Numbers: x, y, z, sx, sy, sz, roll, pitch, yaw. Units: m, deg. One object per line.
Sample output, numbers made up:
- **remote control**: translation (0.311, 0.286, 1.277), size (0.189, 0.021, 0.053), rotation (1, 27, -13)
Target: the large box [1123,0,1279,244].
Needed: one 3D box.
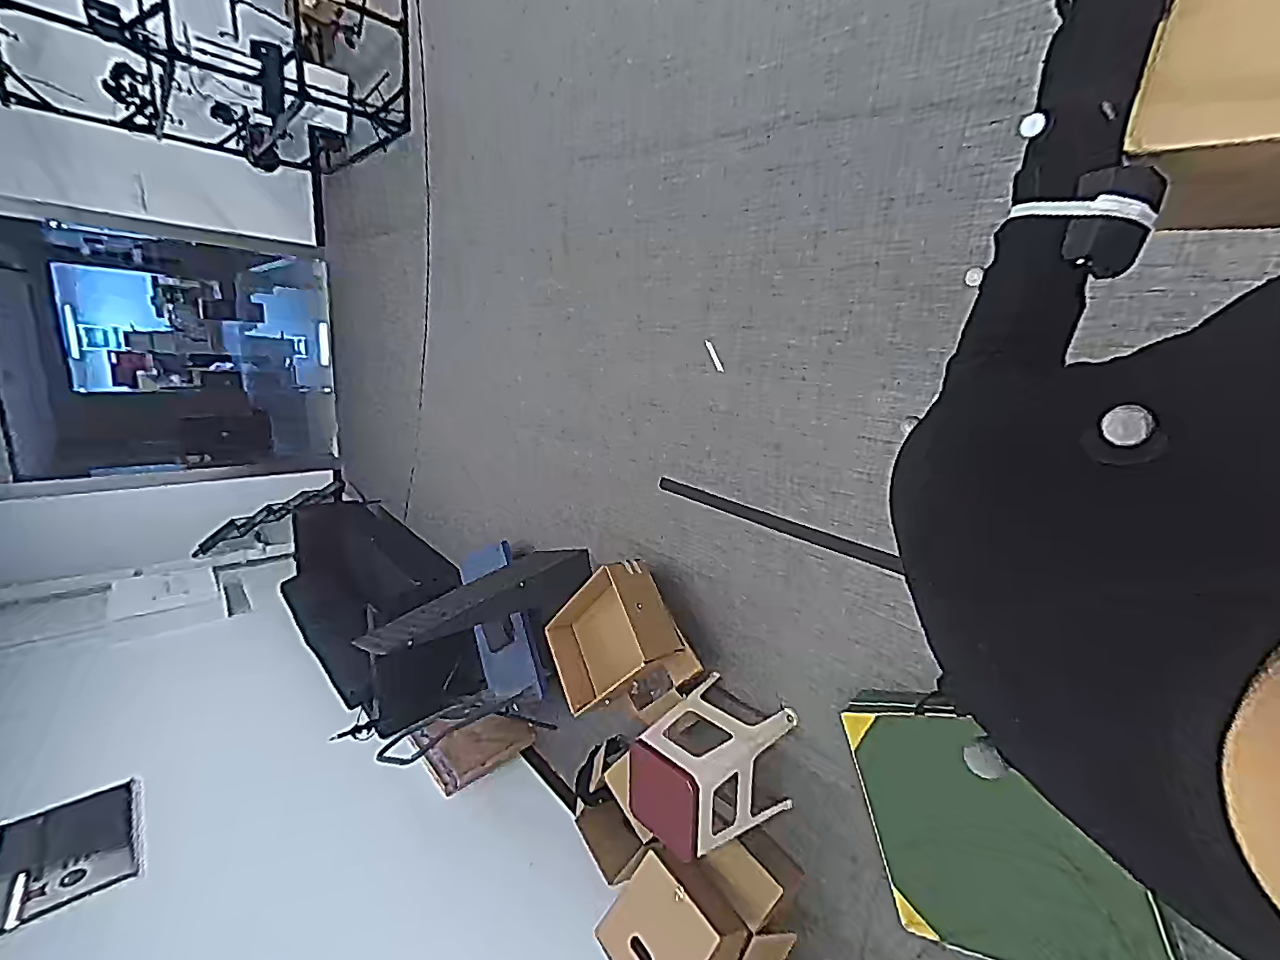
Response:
- **large box**: translation (0.608, -0.340, 0.327), size (0.408, 0.320, 0.320), rotation (21, 113, 42)
